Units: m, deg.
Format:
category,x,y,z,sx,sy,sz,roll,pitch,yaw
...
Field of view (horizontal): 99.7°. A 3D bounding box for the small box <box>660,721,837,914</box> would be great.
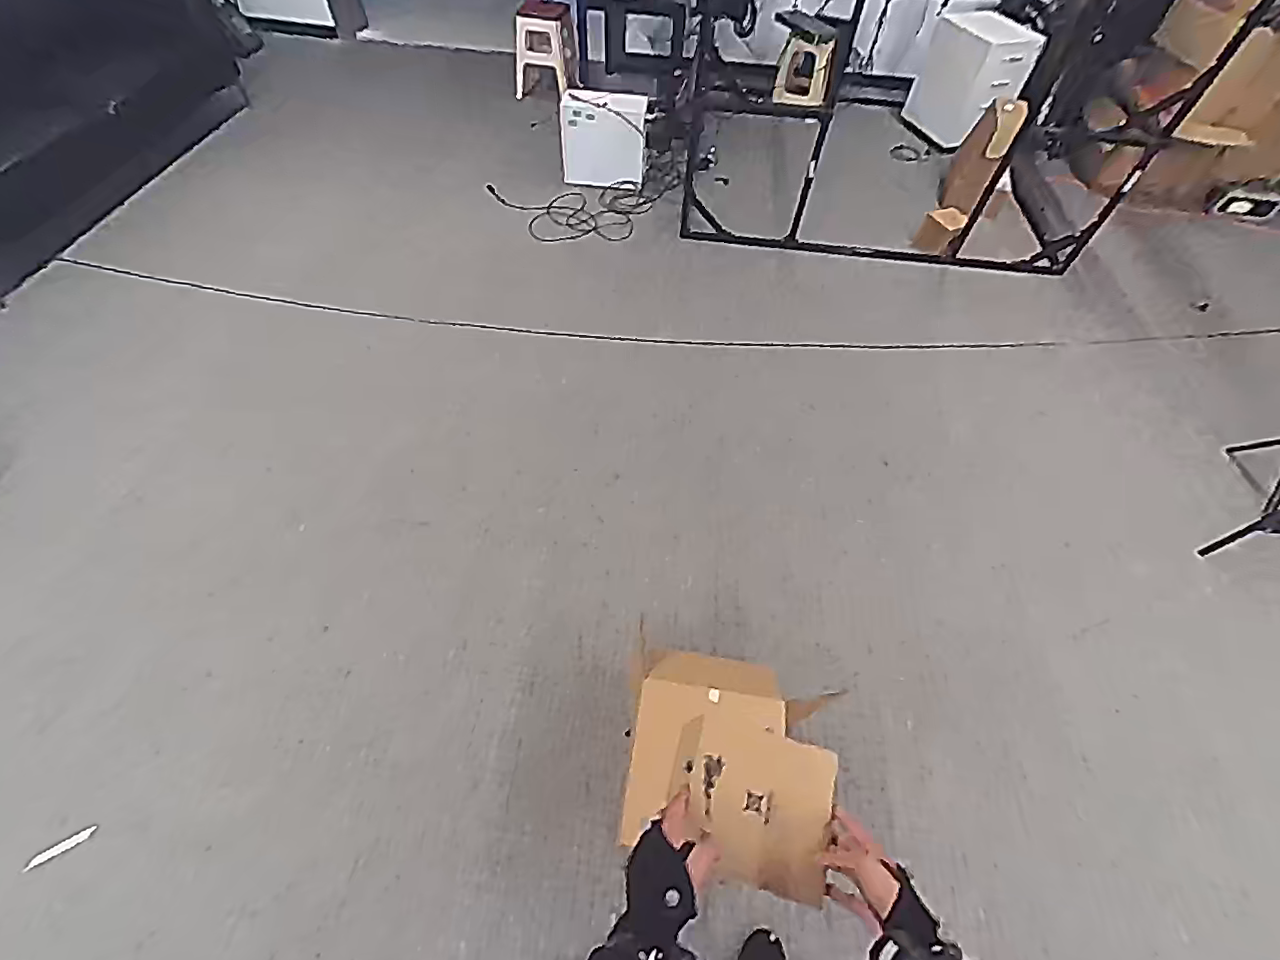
category,x,y,z,sx,sy,sz,roll,pitch,yaw
small box,0.138,0.435,0.725,0.179,0.176,0.168,17,64,3
